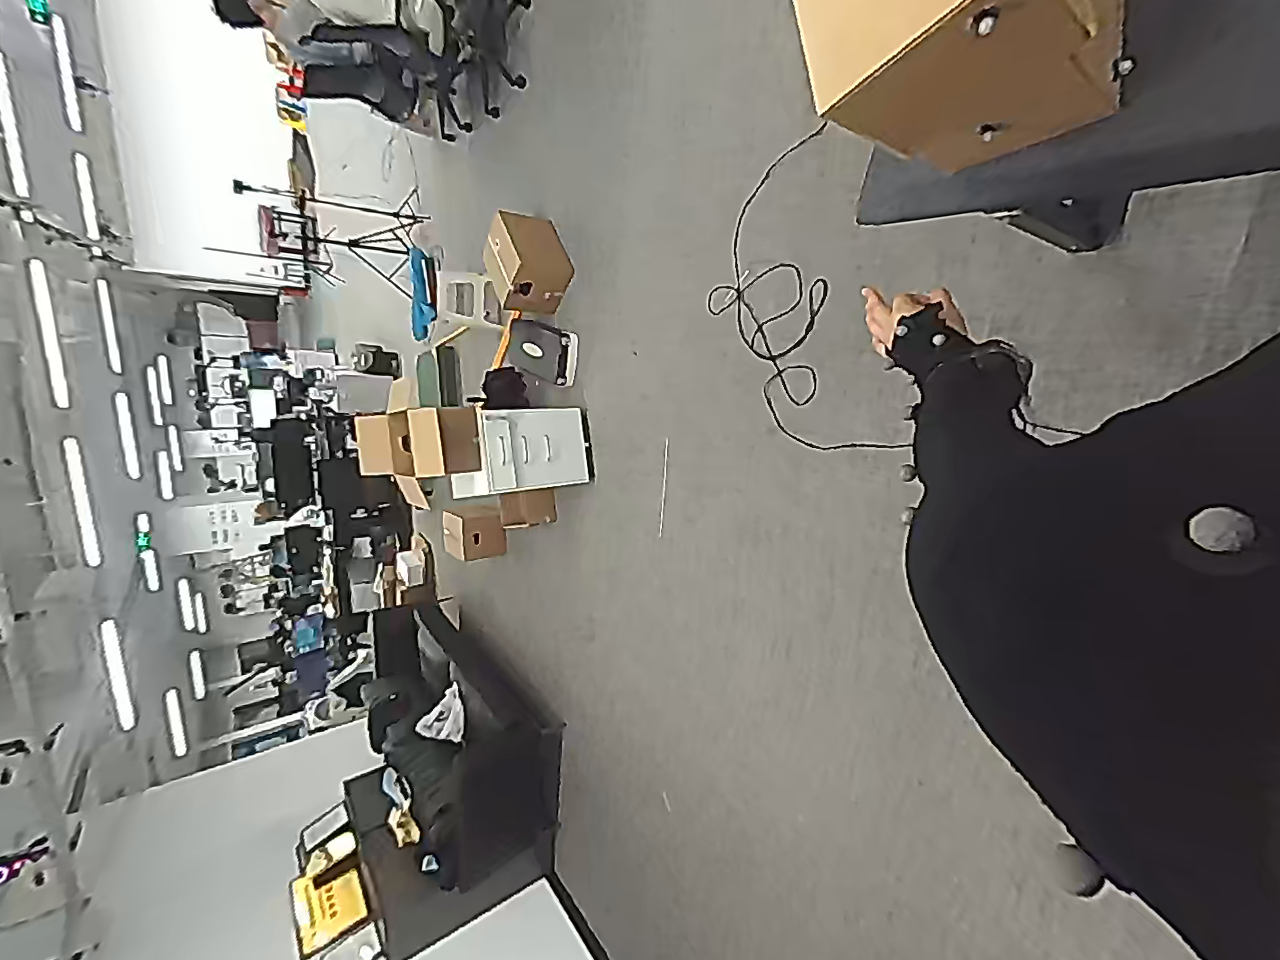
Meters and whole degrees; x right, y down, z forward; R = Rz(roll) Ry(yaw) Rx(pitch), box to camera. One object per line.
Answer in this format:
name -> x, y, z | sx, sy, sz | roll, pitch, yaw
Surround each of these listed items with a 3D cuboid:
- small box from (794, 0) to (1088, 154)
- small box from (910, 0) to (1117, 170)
small box -> 0.273, -0.446, 0.506 | 0.179, 0.176, 0.168 | -16, 84, 53
small box -> 0.401, -0.478, 0.601 | 0.179, 0.176, 0.168 | 5, 100, 53
